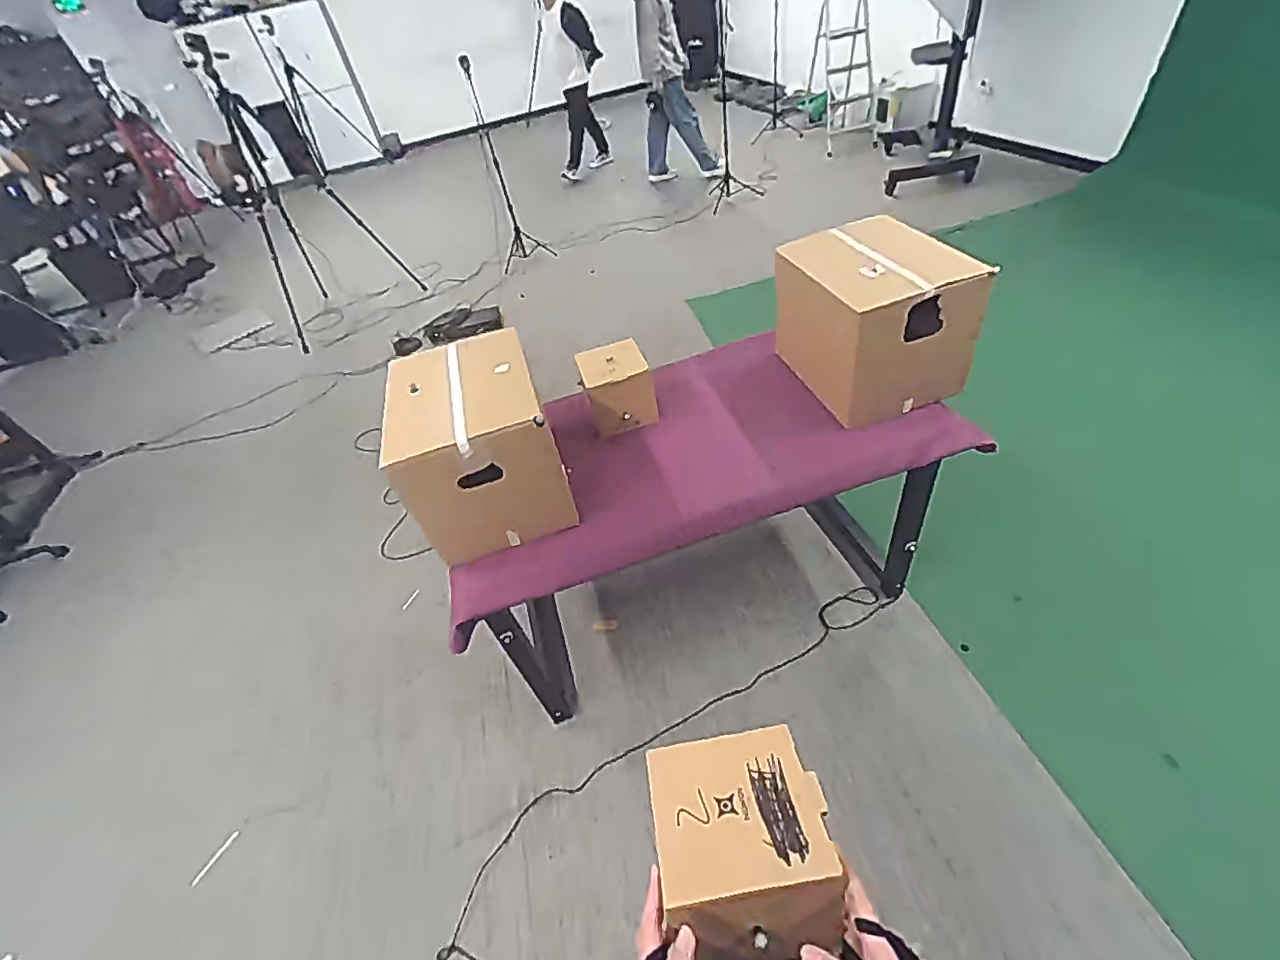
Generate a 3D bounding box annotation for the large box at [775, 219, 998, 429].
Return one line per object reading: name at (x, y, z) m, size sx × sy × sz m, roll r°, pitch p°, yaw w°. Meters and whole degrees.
large box at (0.561, -0.393, 1.337) m, size 0.320 × 0.320 × 0.408 m, roll -18°, pitch 44°, yaw -3°

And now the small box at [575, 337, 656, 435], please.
small box at (-0.064, -0.247, 1.432) m, size 0.168 × 0.176 × 0.179 m, roll -18°, pitch 44°, yaw -4°
